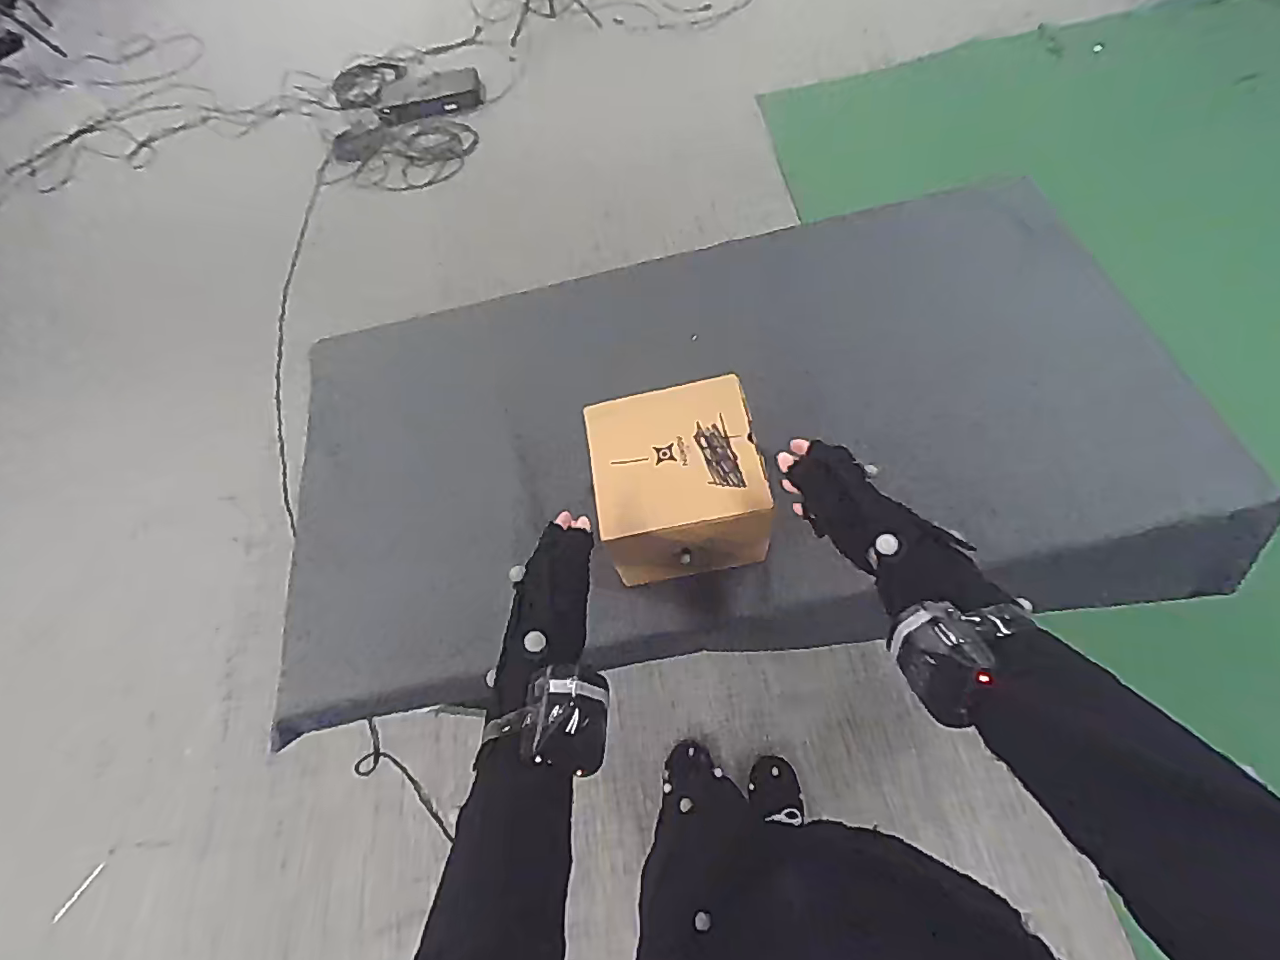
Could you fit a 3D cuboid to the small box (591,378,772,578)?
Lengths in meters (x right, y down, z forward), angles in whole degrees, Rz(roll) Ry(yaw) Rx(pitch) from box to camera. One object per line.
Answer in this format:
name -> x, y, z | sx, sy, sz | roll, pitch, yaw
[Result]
small box -> 0.046, 0.006, 0.637 | 0.179, 0.176, 0.168 | -8, 62, 4
